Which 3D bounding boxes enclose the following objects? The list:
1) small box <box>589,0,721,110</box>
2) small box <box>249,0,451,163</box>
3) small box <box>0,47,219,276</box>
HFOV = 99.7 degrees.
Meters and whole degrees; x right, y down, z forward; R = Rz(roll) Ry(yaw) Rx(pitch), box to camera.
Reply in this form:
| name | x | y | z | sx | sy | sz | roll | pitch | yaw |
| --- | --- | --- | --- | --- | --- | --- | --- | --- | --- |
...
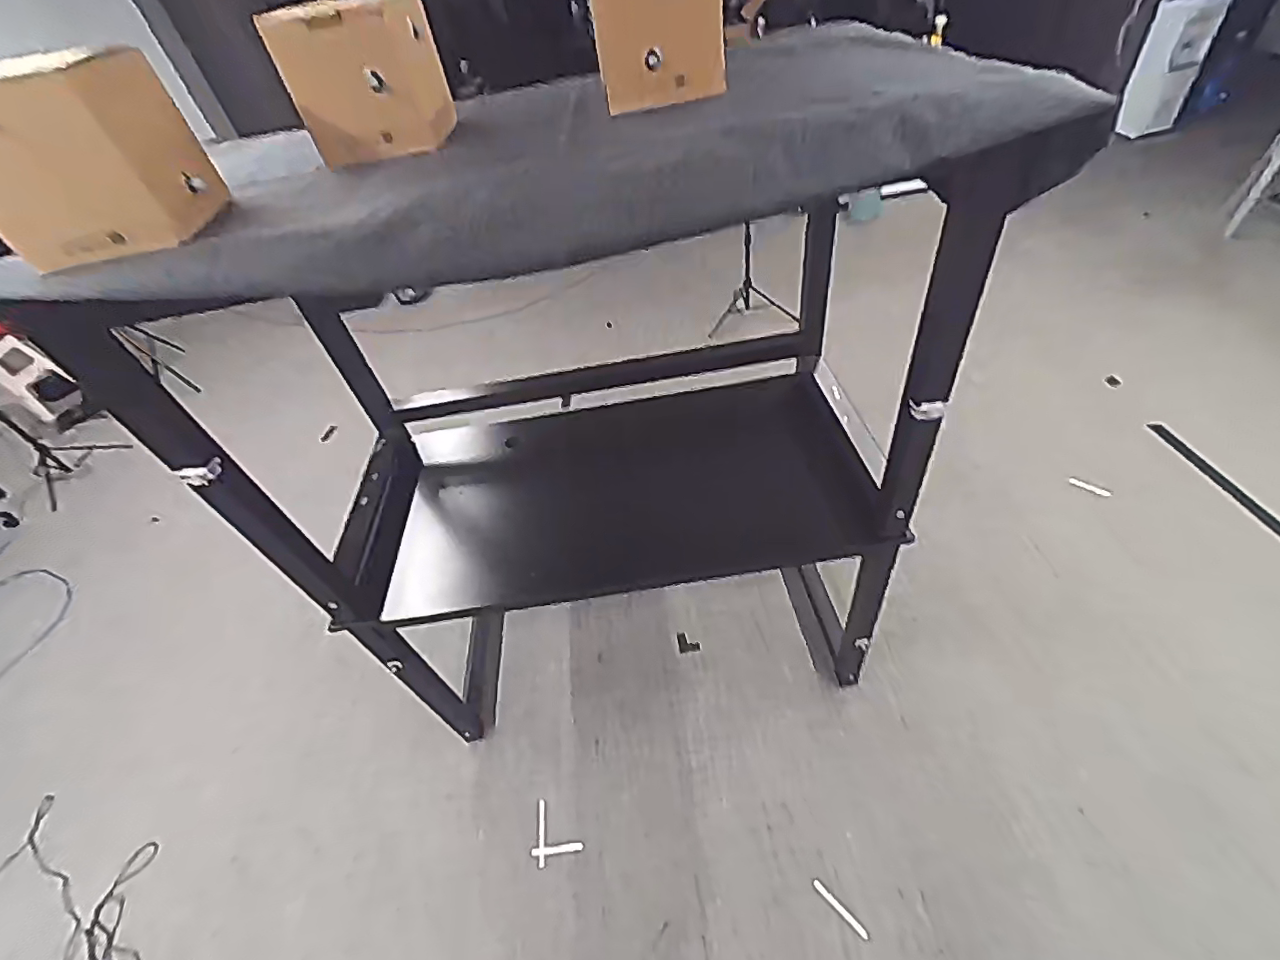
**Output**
| name | x | y | z | sx | sy | sz | roll | pitch | yaw |
| --- | --- | --- | --- | --- | --- | --- | --- | --- | --- |
| small box | 0.016 | -0.636 | 0.749 | 0.168 | 0.176 | 0.179 | -10 | 46 | 2 |
| small box | -0.384 | -0.563 | 0.758 | 0.168 | 0.176 | 0.179 | -7 | 46 | 3 |
| small box | -0.617 | -0.349 | 0.595 | 0.168 | 0.176 | 0.179 | -14 | 46 | -3 |
